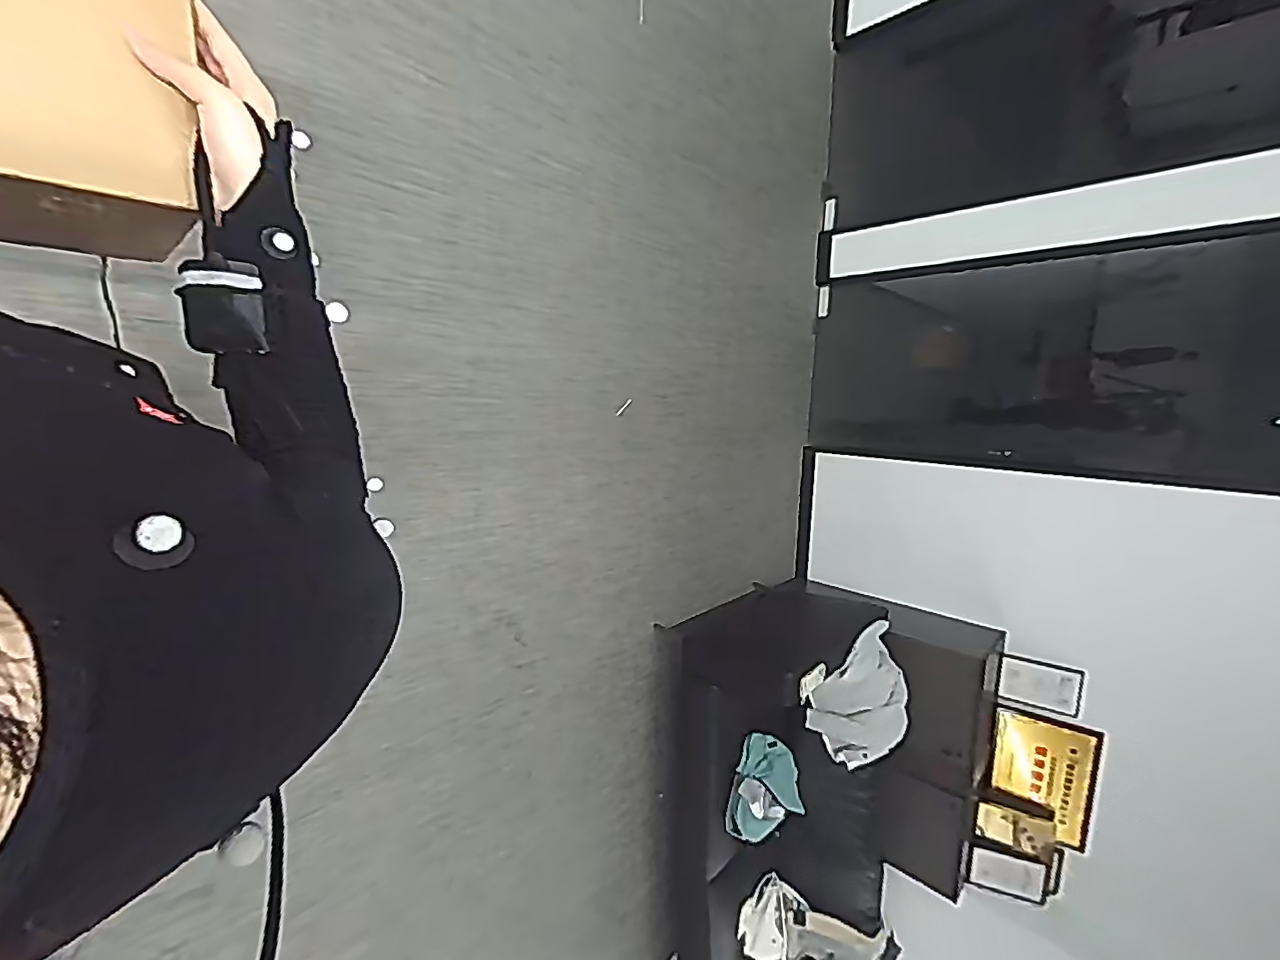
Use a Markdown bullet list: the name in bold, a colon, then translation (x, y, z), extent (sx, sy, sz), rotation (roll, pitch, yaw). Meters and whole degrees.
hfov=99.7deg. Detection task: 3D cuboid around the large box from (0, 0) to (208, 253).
- **large box**: translation (-0.563, -0.351, 0.330), extent (0.408, 0.320, 0.320), rotation (-10, 106, -46)
